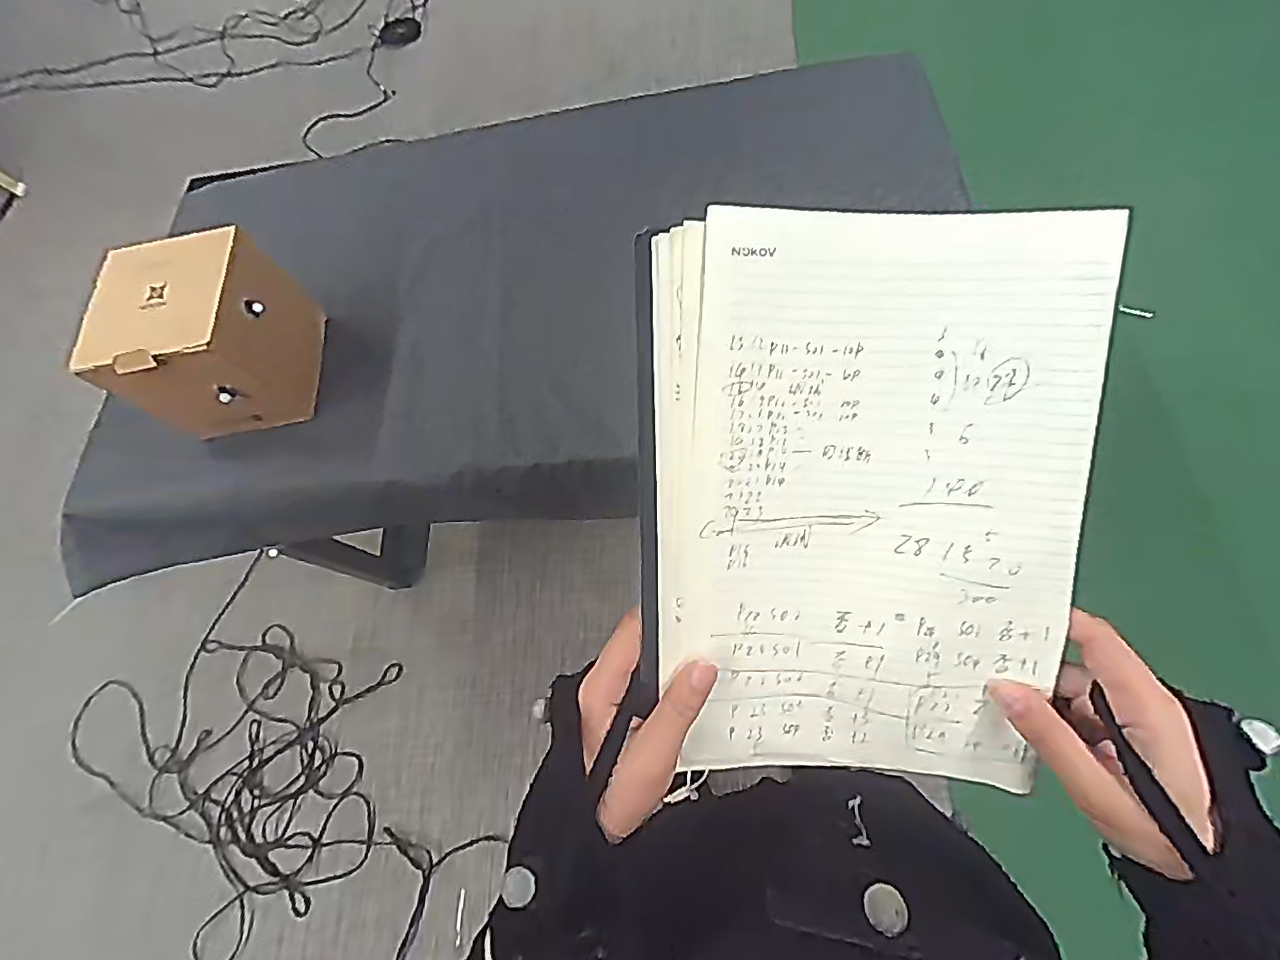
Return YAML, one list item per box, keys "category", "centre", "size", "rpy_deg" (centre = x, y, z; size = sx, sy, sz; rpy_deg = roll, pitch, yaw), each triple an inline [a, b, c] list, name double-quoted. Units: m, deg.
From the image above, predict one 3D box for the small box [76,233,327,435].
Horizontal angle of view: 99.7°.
- category: "small box"
  centre: [-0.529, -0.170, 0.684]
  size: [0.168, 0.176, 0.179]
  rpy_deg: [-9, 66, 4]
